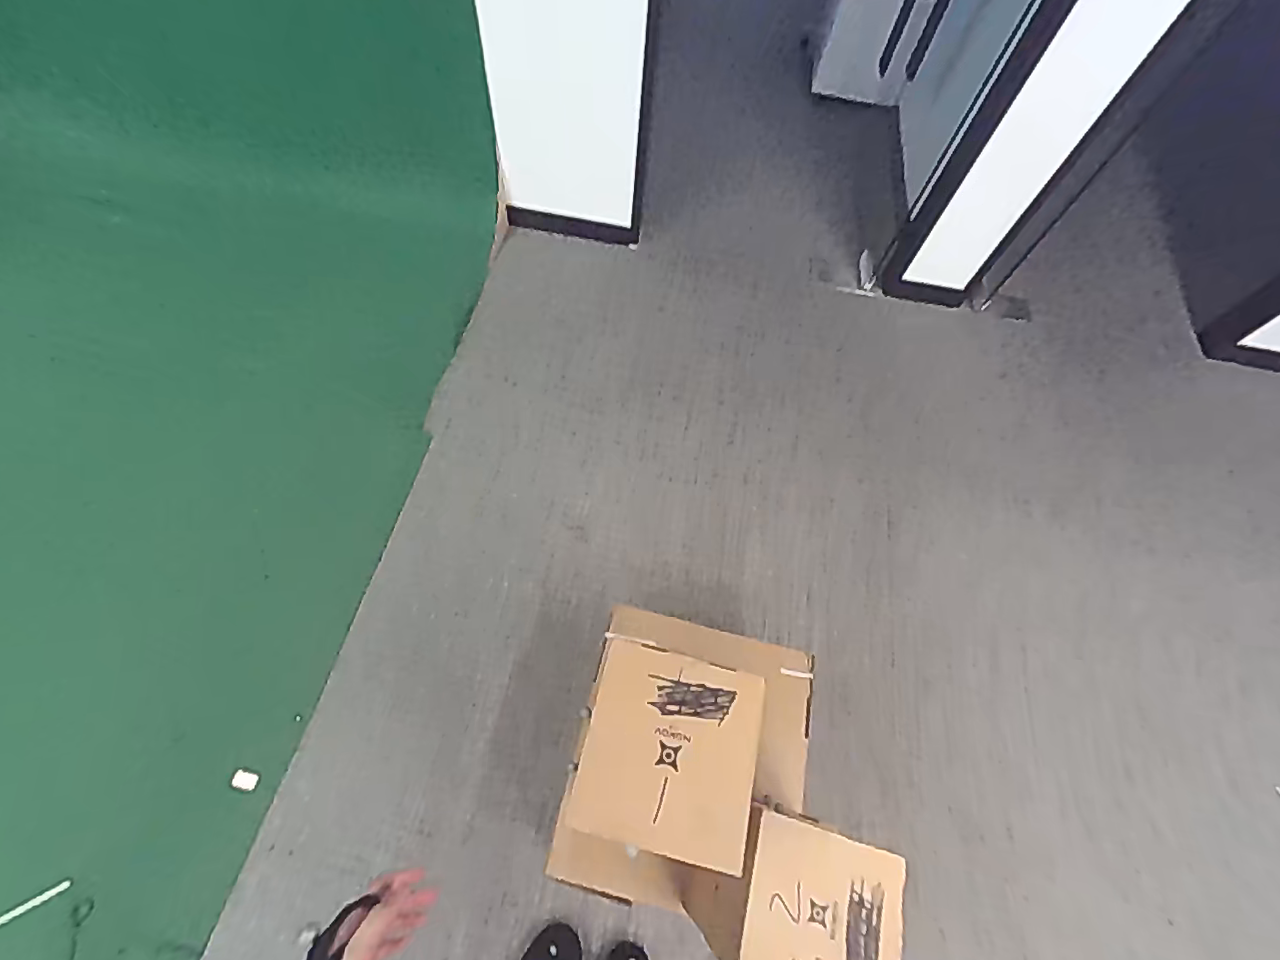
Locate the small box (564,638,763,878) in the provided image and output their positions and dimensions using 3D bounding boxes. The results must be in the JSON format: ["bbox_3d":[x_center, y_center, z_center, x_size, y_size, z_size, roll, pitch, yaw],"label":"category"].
[{"bbox_3d":[0.022,0.296,0.589,0.168,0.176,0.179,15,61,3],"label":"small box"}]

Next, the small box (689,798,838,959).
[{"bbox_3d":[0.178,0.591,0.809,0.168,0.176,0.179,16,59,3],"label":"small box"}]
